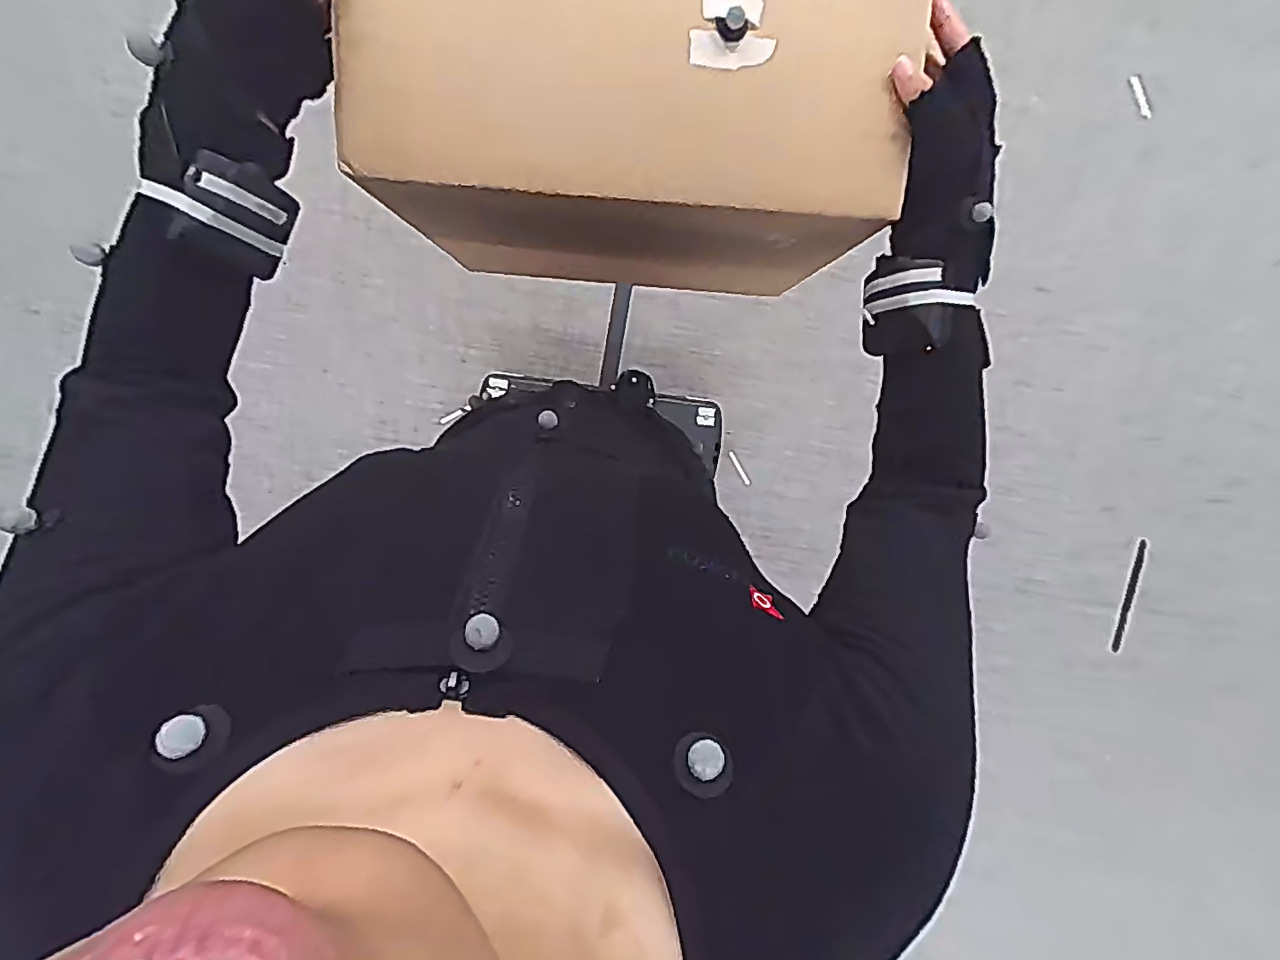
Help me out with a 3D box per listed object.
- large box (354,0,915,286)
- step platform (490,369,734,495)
[{"bbox_3d":[-0.005,-0.388,0.525,0.408,0.320,0.320,4,99,-3],"label":"large box"},{"bbox_3d":[-0.079,-0.137,1.557,0.684,0.204,0.286,6,98,-5],"label":"step platform"}]
